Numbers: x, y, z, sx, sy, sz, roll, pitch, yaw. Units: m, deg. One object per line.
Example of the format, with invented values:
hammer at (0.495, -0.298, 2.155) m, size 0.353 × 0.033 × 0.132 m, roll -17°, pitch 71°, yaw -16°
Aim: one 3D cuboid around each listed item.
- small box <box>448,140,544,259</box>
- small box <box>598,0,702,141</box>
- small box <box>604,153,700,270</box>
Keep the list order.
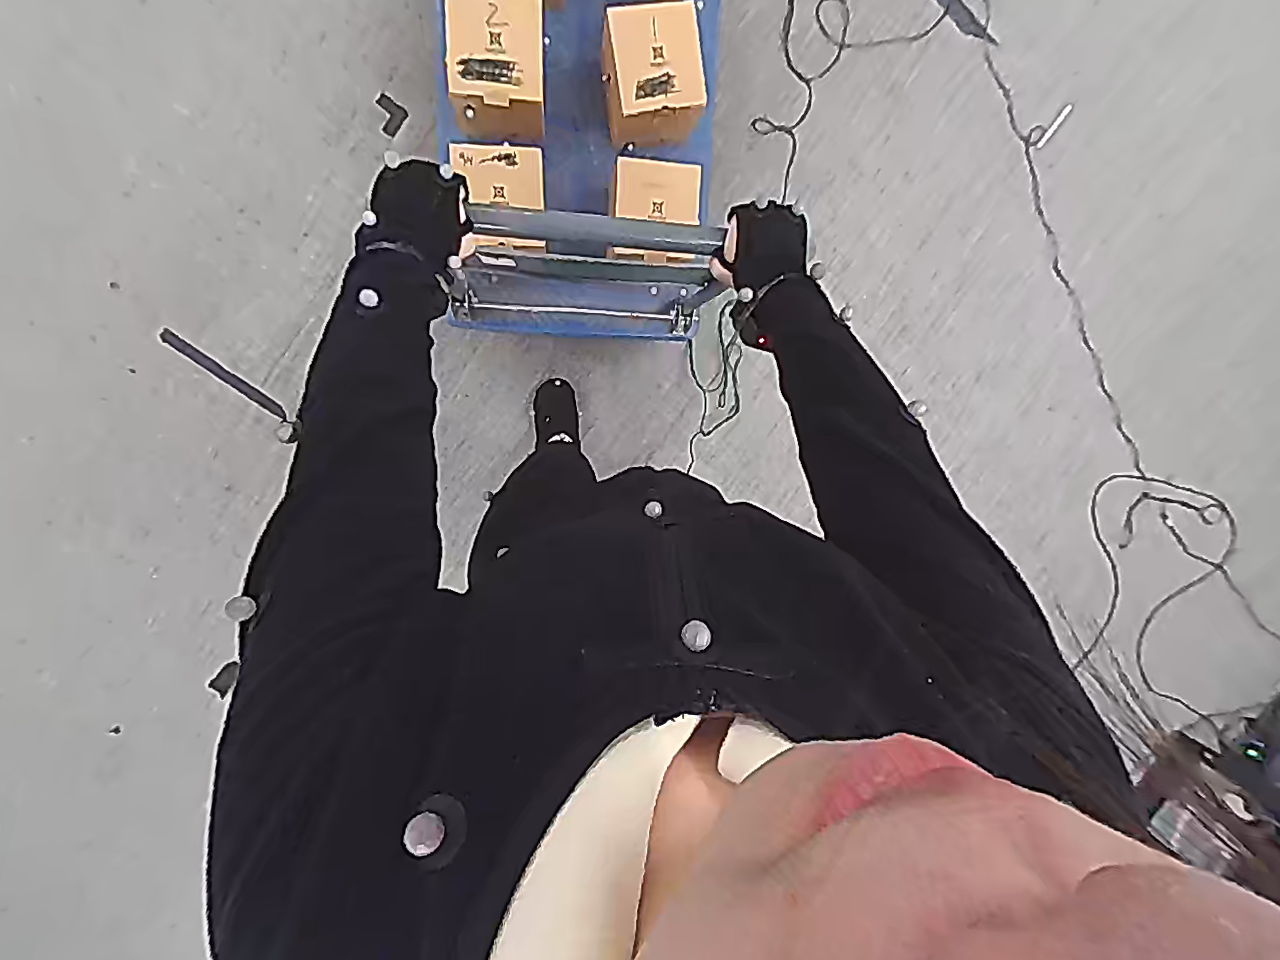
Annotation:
small box at (-0.276, -0.543, 1.072) m, size 0.168 × 0.176 × 0.179 m, roll -3°, pitch 102°, yaw -10°
small box at (0.015, -0.798, 1.072) m, size 0.168 × 0.176 × 0.179 m, roll -11°, pitch 102°, yaw -8°
small box at (0.018, -0.544, 1.124) m, size 0.168 × 0.176 × 0.179 m, roll 1°, pitch 100°, yaw -11°
